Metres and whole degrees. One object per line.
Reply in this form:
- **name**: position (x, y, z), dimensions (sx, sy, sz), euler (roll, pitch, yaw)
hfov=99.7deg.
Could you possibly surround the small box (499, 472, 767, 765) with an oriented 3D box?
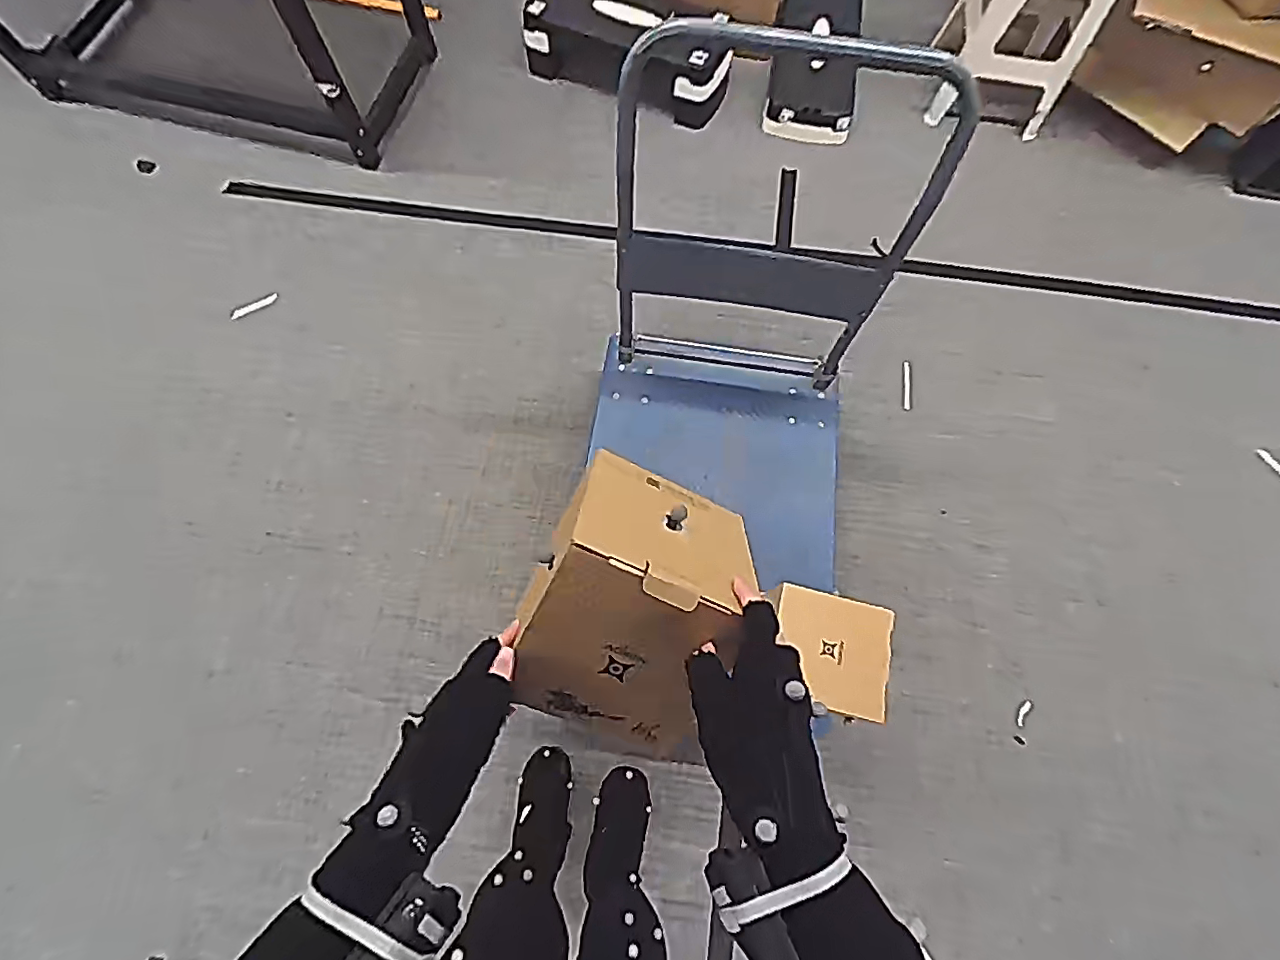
- **small box**: position (-0.008, 0.119, 0.512), dimensions (0.168, 0.176, 0.179), euler (27, 113, -8)

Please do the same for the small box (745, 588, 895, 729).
- **small box**: position (0.281, 0.287, 0.873), dimensions (0.179, 0.176, 0.168), euler (15, 71, 2)
